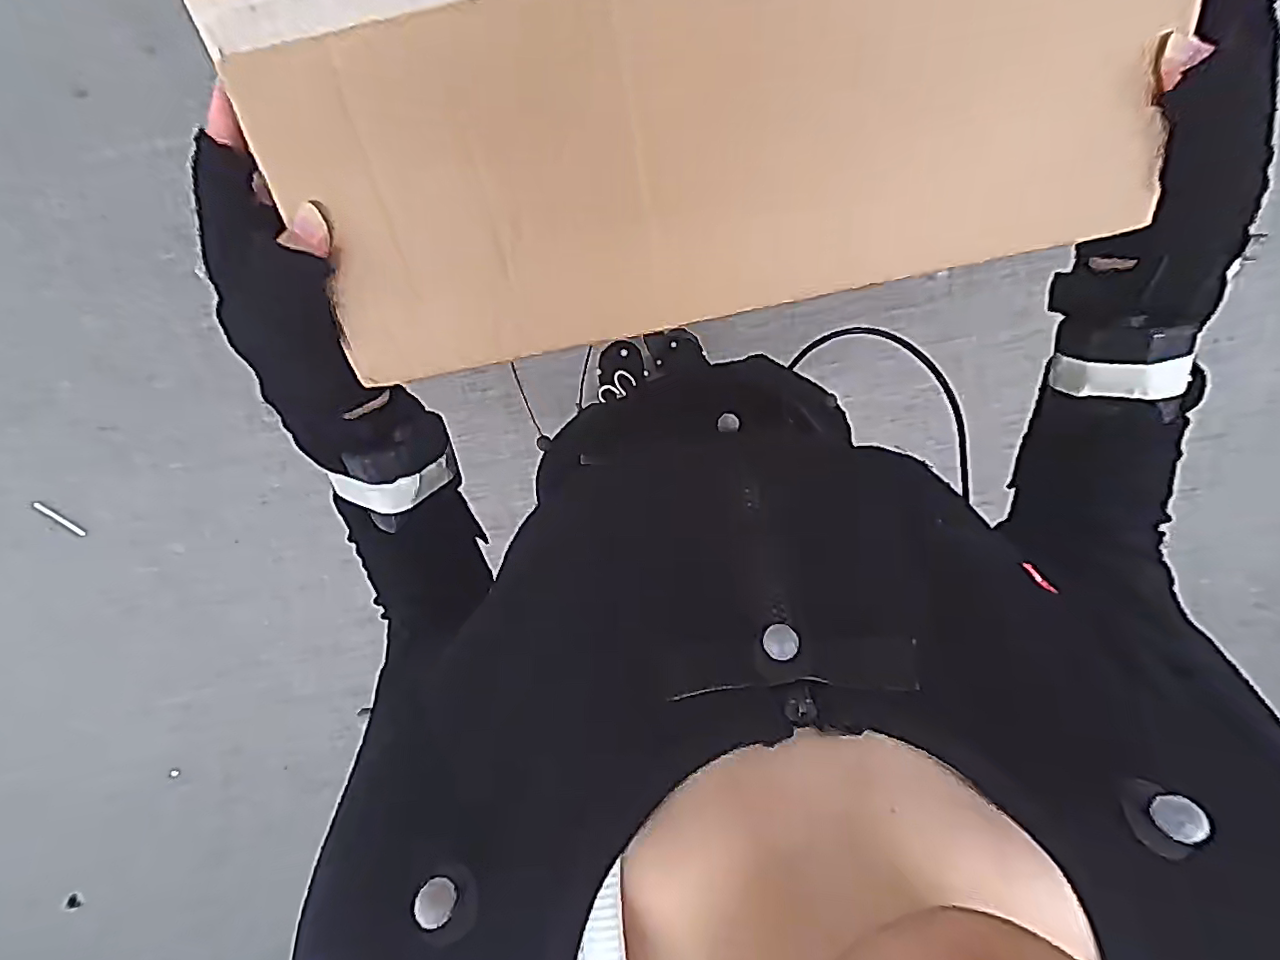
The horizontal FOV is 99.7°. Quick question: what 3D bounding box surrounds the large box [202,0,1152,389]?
[{"bbox_3d":[0.013,-0.290,0.351,0.408,0.320,0.320,-11,116,4],"label":"large box"}]
